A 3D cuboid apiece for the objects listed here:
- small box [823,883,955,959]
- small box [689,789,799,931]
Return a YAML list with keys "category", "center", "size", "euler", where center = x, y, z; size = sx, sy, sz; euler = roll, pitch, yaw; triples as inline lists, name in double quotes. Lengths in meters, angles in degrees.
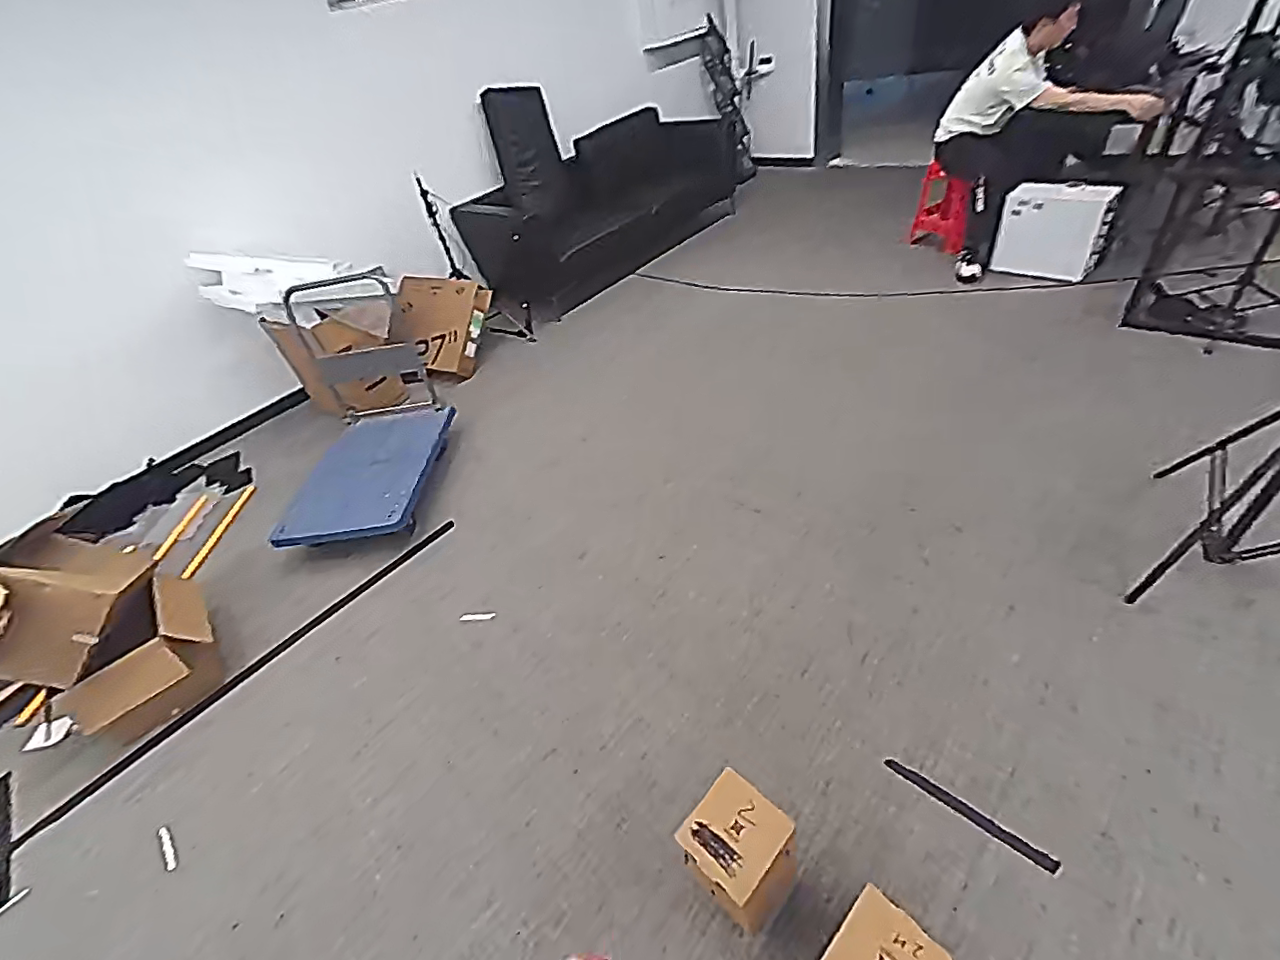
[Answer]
- category: "small box"
  center: [0.461, 0.924, 1.022]
  size: [0.179, 0.176, 0.168]
  euler: [-38, 47, -25]
- category: "small box"
  center: [0.230, 0.837, 1.193]
  size: [0.179, 0.176, 0.168]
  euler: [-39, 46, -26]
